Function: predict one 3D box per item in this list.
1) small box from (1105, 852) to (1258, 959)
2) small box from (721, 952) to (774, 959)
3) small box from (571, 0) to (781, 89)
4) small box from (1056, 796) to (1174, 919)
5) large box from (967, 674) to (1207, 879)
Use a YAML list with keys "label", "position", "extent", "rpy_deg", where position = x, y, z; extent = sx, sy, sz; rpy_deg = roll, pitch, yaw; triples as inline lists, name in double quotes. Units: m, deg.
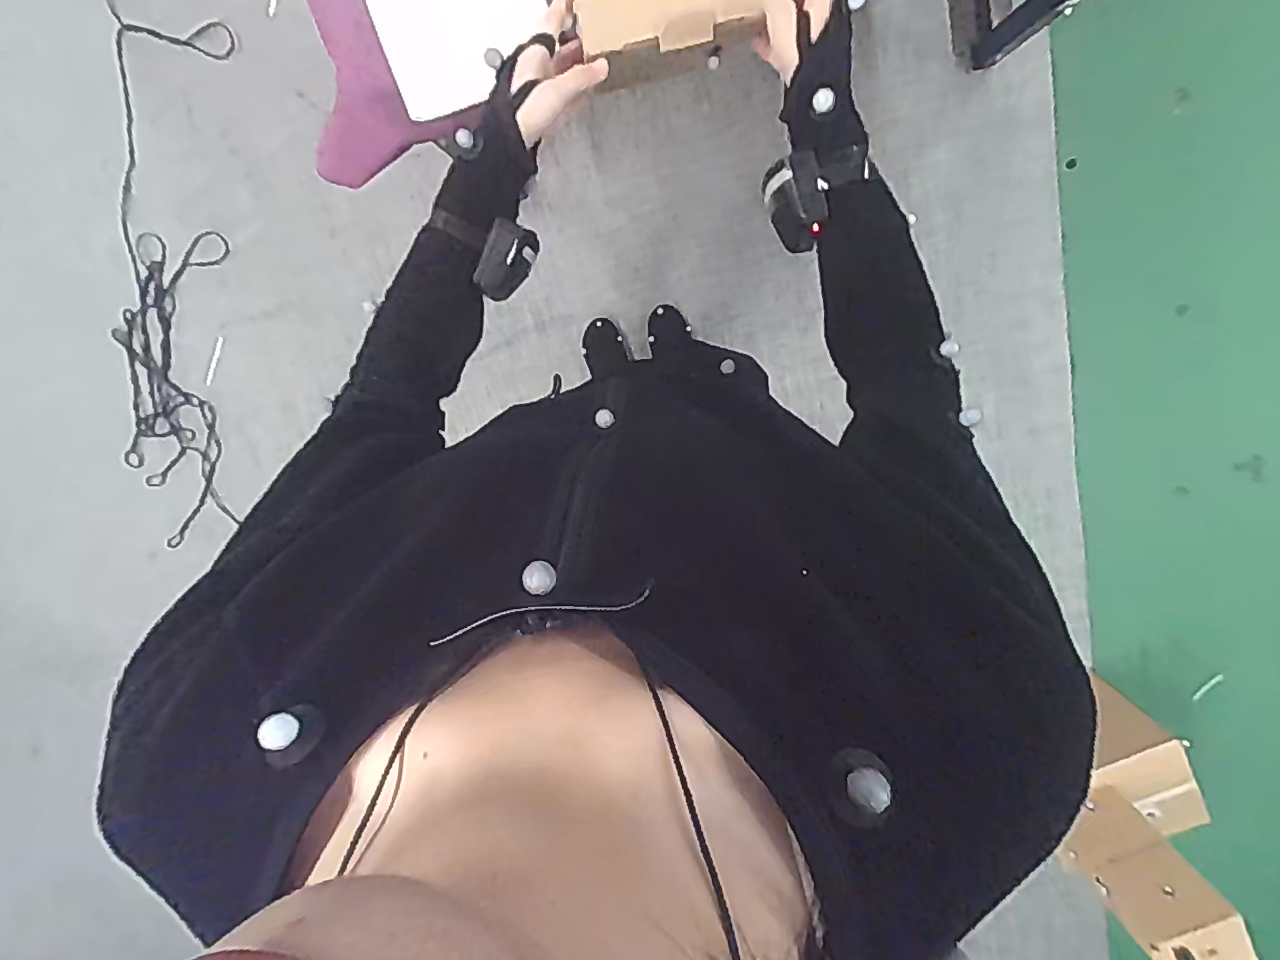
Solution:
- label: "small box"
  position: [1.197, 0.988, 1.208]
  extent: [0.179, 0.176, 0.168]
  rpy_deg: [-29, 103, 7]
- label: "small box"
  position: [0.315, 1.502, 1.539]
  extent: [0.168, 0.176, 0.179]
  rpy_deg: [3, 107, 0]
- label: "small box"
  position: [0.016, -0.468, 0.473]
  extent: [0.168, 0.176, 0.179]
  rpy_deg: [-11, 116, 2]
- label: "small box"
  position: [1.200, 0.947, 1.367]
  extent: [0.179, 0.176, 0.168]
  rpy_deg: [-24, 104, 8]
- label: "large box"
  position: [1.287, 0.857, 1.596]
  extent: [0.408, 0.320, 0.320]
  rpy_deg: [-29, 104, 7]
